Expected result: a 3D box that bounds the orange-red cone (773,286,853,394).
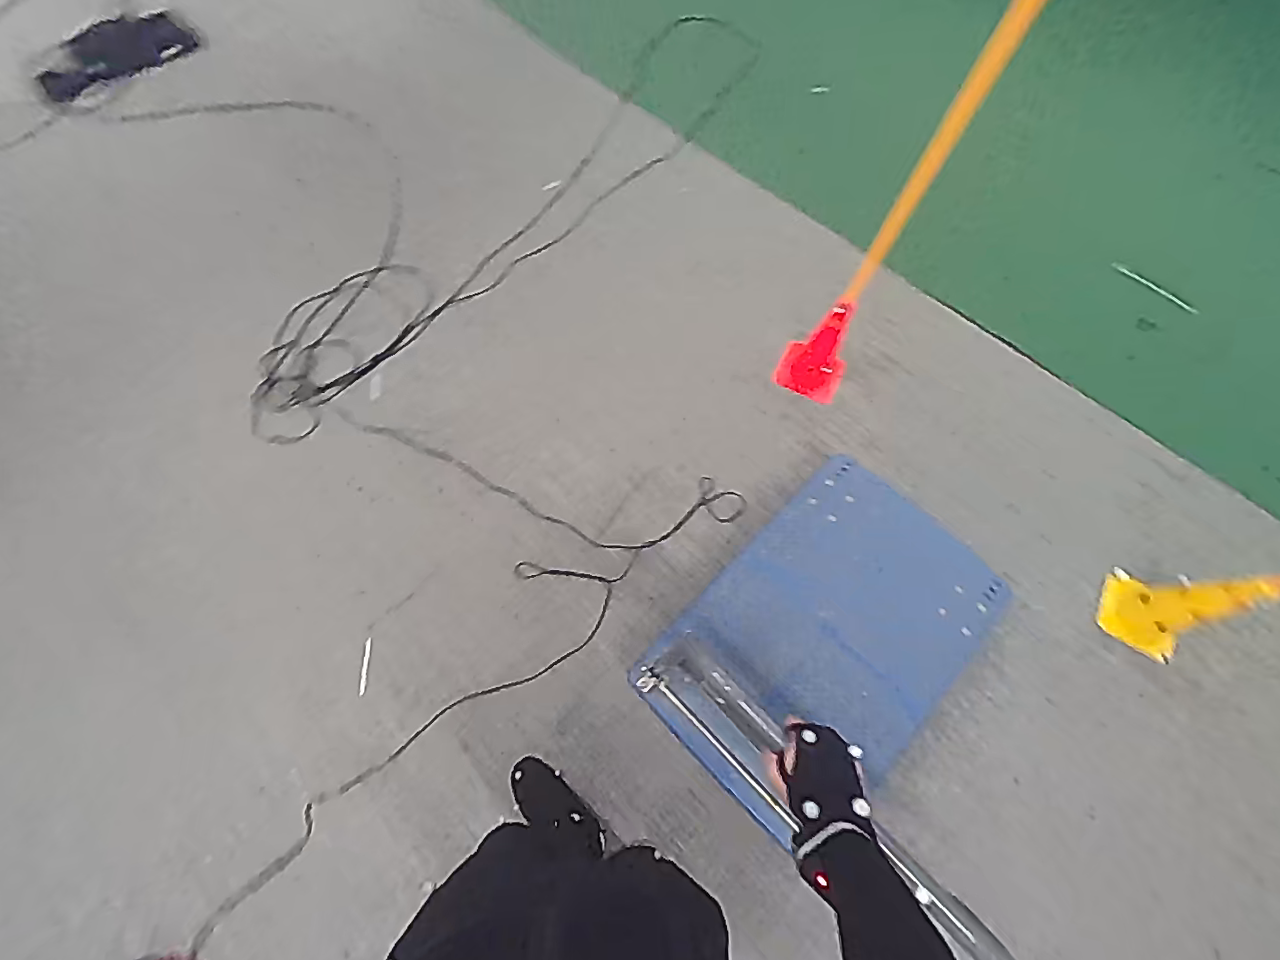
[{"bbox_3d":[0.577,-0.464,1.687,0.199,0.360,0.198,27,68,10],"label":"orange-red cone"}]
